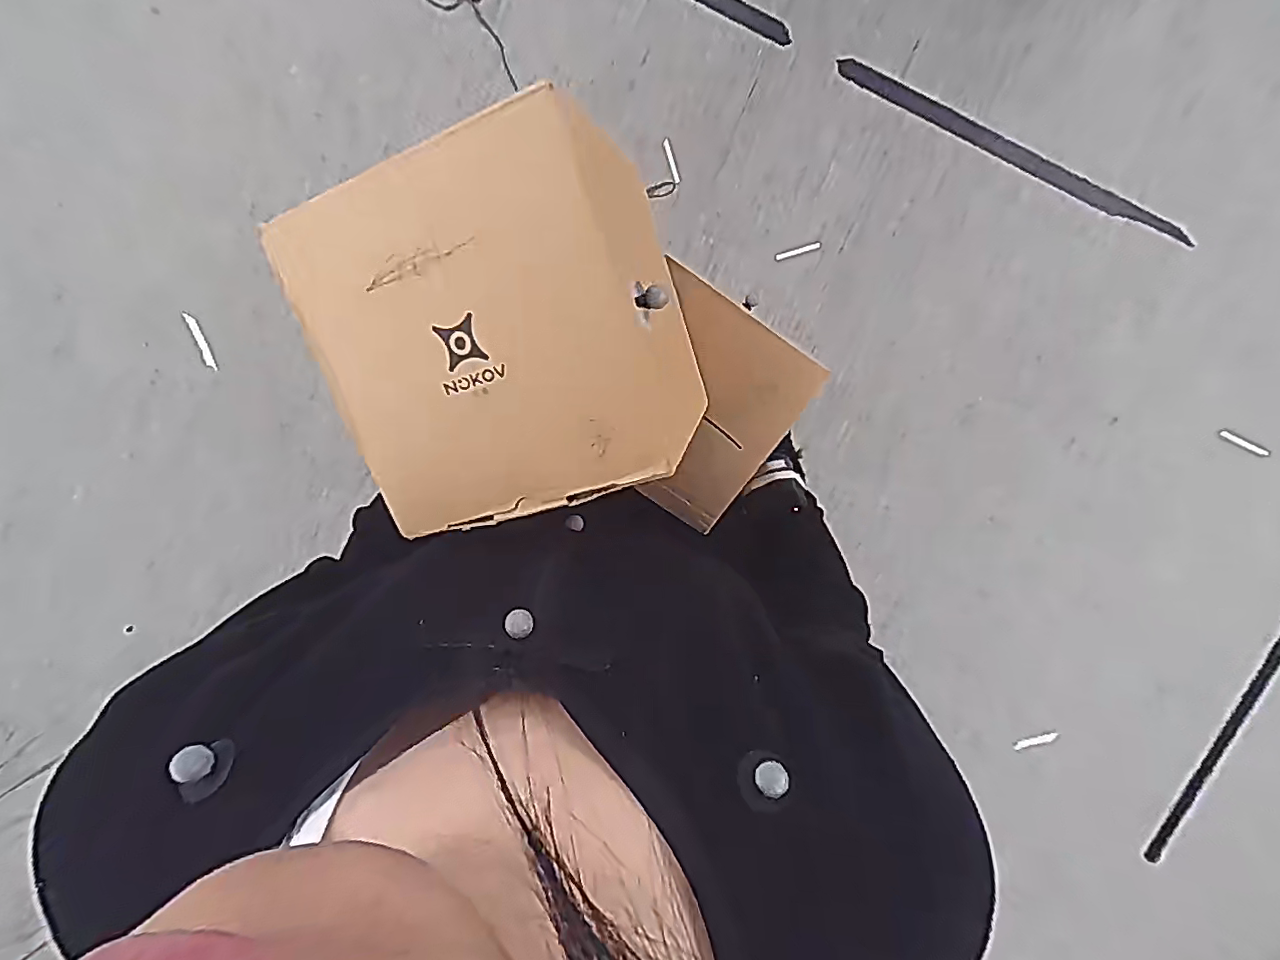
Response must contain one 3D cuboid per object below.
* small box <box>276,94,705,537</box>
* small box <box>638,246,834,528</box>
[{"bbox_3d":[-0.064,-0.090,0.341,0.168,0.176,0.179,-15,104,17],"label":"small box"},{"bbox_3d":[0.043,-0.092,0.500,0.179,0.176,0.168,34,111,-4],"label":"small box"}]
